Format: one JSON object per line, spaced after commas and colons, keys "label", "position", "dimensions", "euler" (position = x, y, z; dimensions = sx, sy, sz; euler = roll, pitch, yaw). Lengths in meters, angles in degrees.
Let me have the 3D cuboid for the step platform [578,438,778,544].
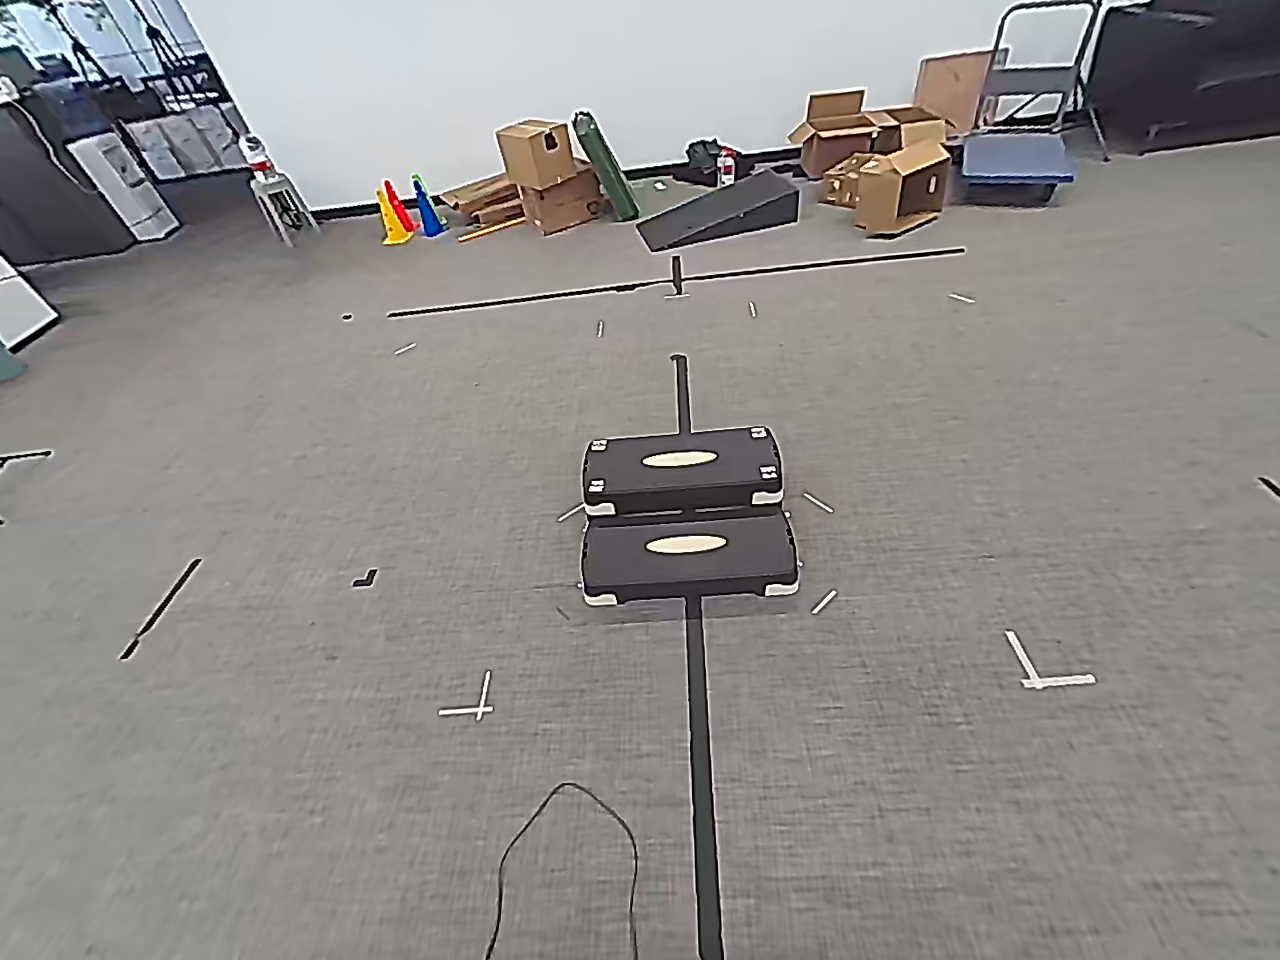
{"label": "step platform", "position": [0.126, 0.032, 1.883], "dimensions": [0.684, 0.204, 0.286], "euler": [-5, 45, 4]}
